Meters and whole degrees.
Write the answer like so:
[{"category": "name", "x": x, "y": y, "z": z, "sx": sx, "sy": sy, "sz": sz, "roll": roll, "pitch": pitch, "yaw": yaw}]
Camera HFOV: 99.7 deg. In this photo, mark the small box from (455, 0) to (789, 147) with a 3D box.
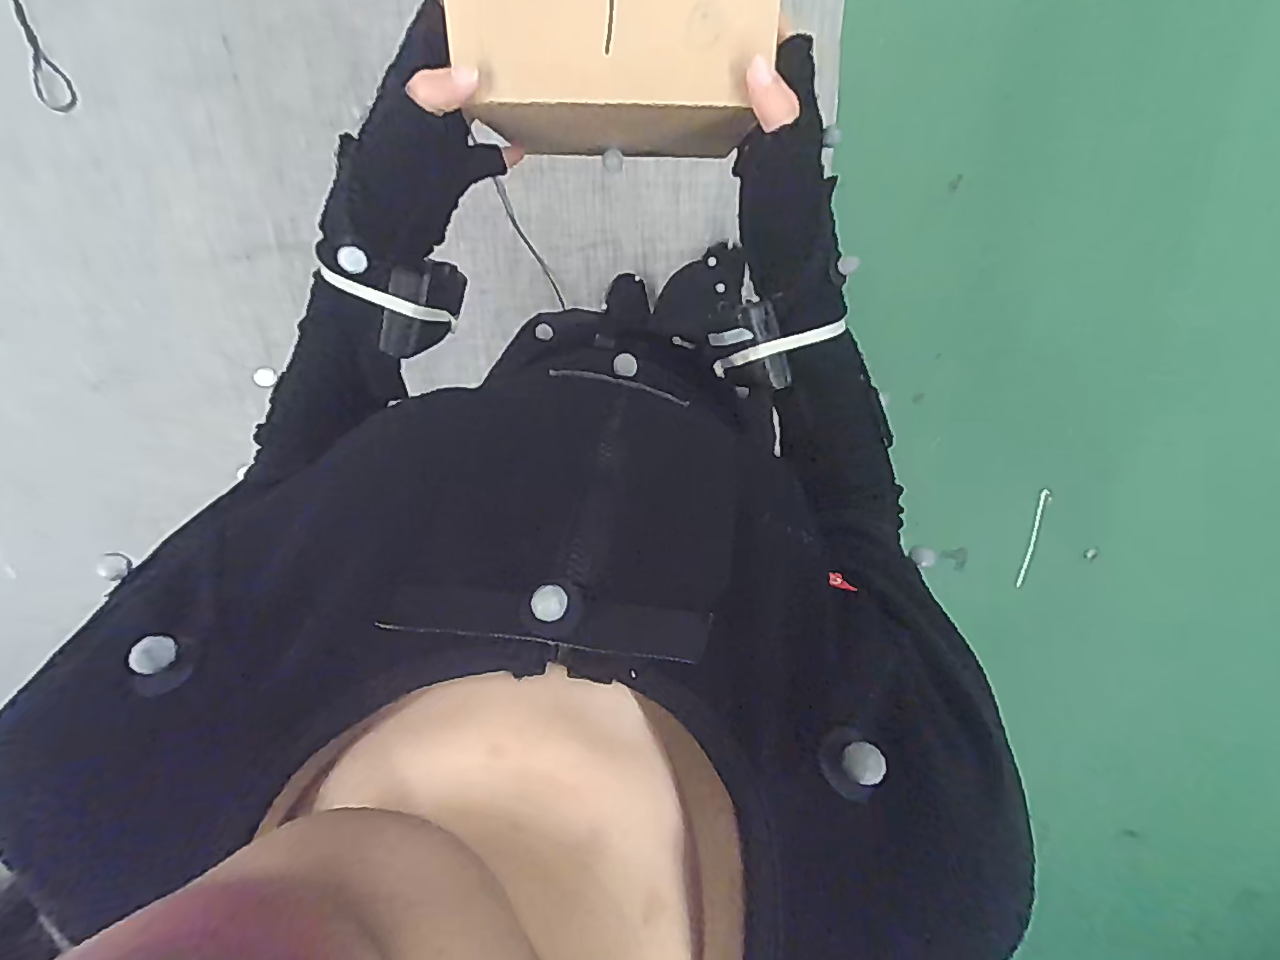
[{"category": "small box", "x": -0.006, "y": -0.314, "z": 0.316, "sx": 0.168, "sy": 0.176, "sz": 0.179, "roll": 1, "pitch": 113, "yaw": 1}]
